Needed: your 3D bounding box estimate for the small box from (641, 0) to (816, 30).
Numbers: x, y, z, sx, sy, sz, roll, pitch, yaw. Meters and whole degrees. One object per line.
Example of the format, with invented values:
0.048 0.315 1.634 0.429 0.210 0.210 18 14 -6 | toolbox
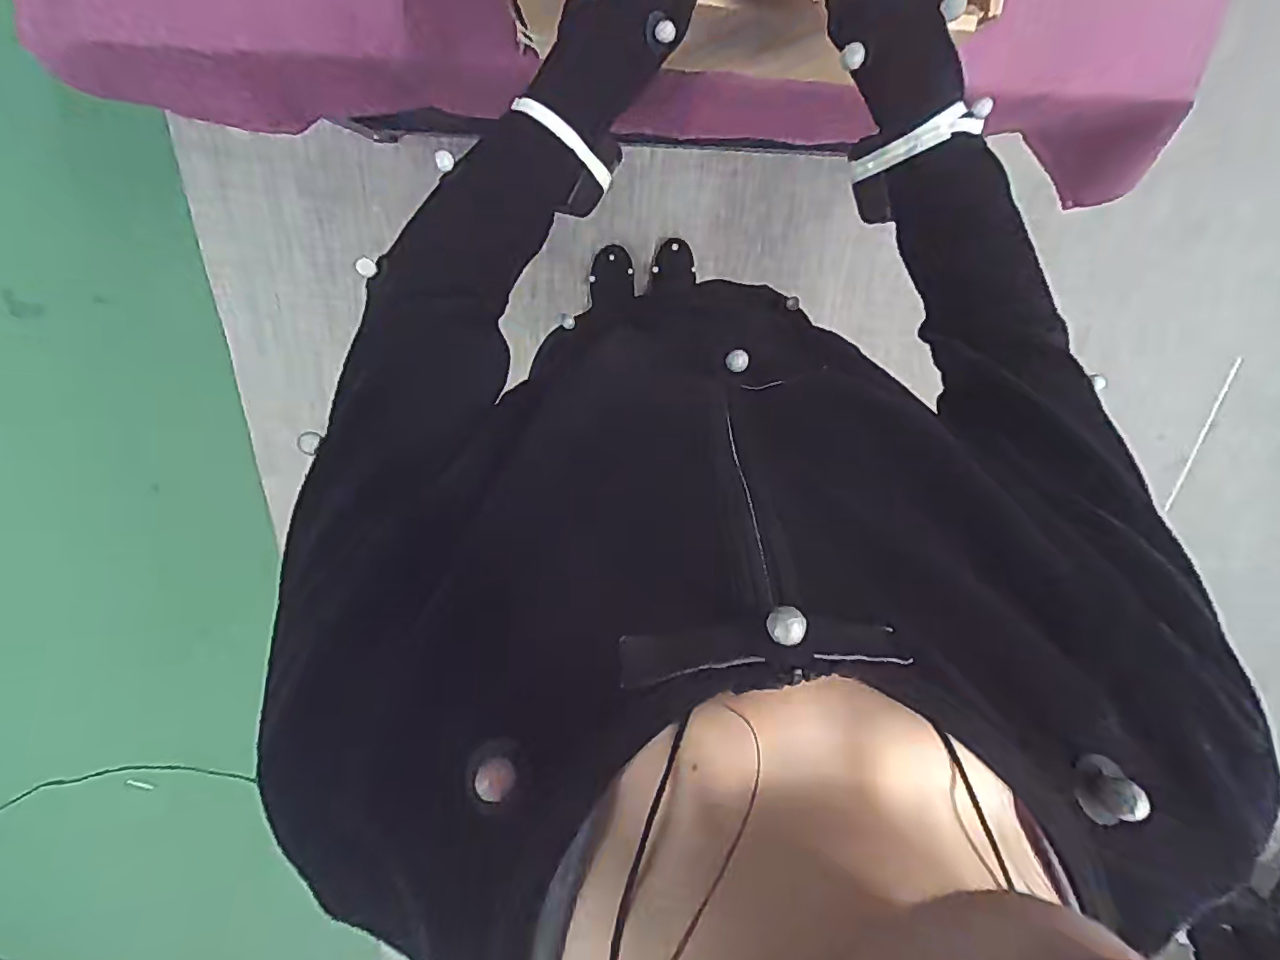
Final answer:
0.083 -0.498 0.424 0.168 0.176 0.179 1 113 -3 | small box
